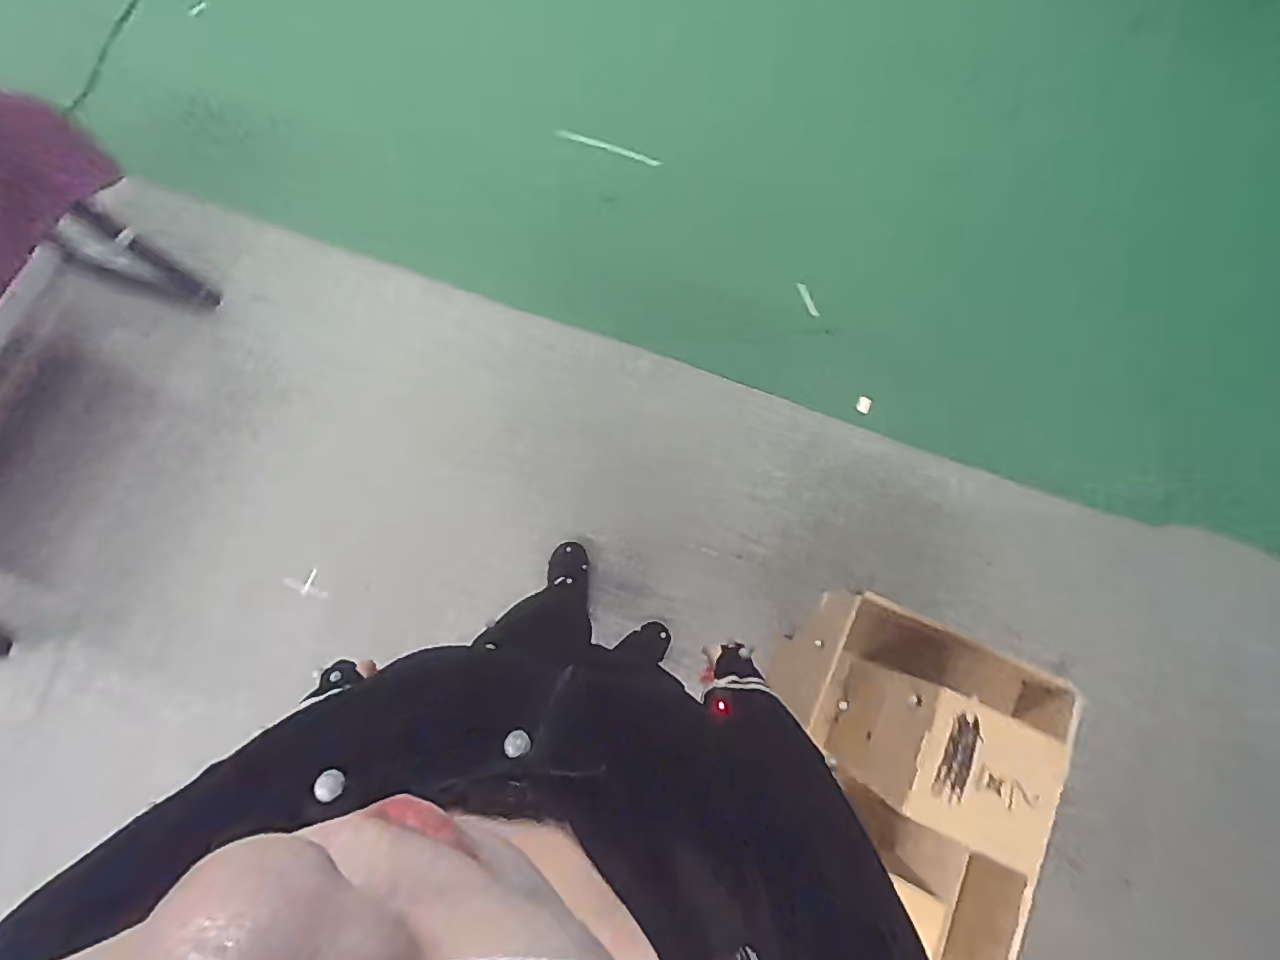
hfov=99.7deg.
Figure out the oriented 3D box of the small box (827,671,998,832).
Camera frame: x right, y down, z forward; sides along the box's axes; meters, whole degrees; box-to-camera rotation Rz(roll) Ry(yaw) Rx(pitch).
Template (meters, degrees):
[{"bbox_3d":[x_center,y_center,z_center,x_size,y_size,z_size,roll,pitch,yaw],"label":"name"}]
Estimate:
[{"bbox_3d":[0.444,0.437,0.906,0.179,0.176,0.168,23,79,6],"label":"small box"}]
